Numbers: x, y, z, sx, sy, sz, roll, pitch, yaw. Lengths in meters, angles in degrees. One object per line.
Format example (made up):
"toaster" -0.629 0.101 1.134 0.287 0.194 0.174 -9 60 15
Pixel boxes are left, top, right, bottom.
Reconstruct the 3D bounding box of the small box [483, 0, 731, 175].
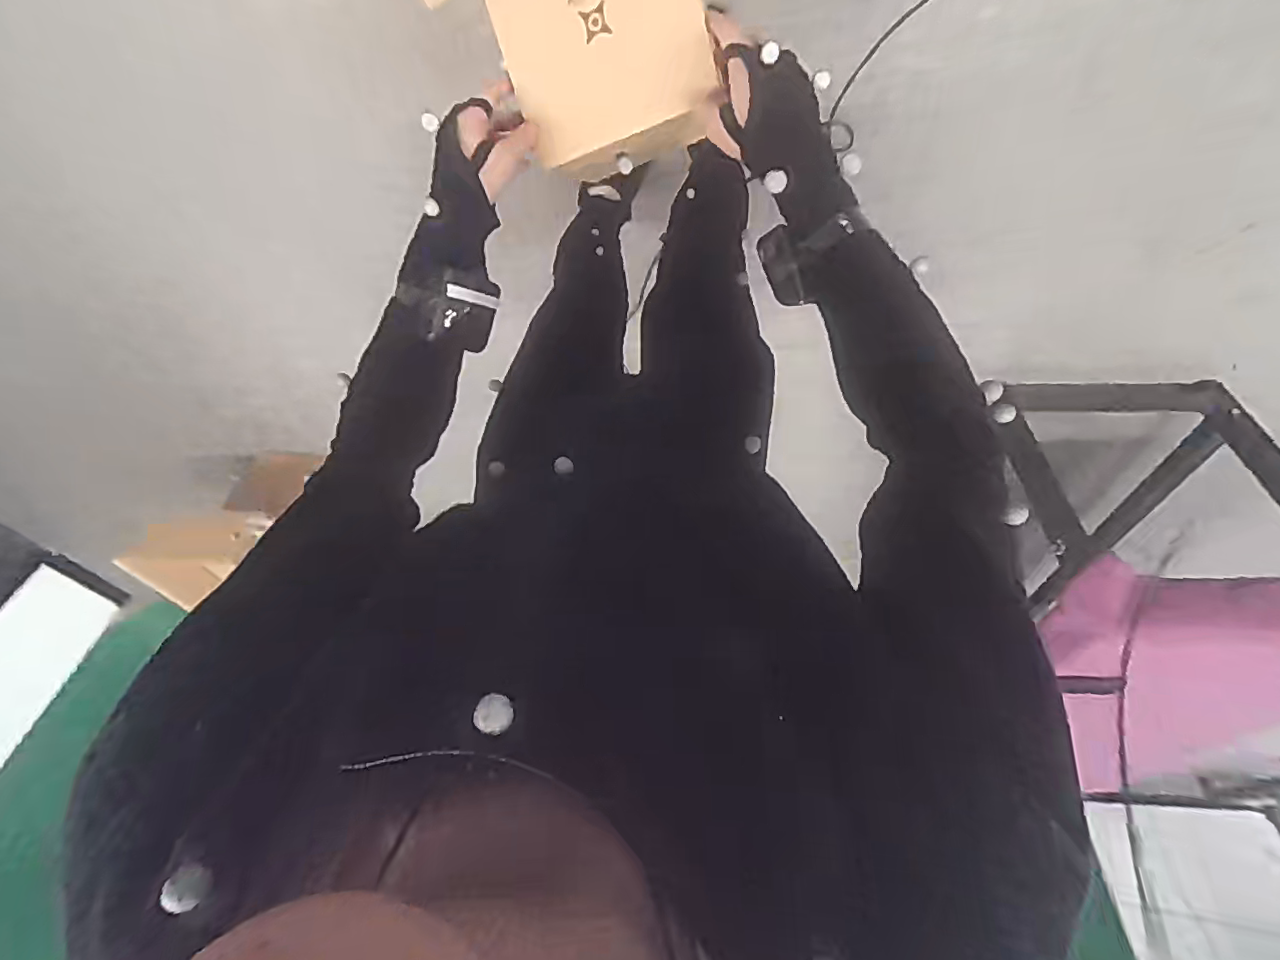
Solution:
"small box" -0.019 -0.392 0.484 0.168 0.176 0.179 -11 111 18
